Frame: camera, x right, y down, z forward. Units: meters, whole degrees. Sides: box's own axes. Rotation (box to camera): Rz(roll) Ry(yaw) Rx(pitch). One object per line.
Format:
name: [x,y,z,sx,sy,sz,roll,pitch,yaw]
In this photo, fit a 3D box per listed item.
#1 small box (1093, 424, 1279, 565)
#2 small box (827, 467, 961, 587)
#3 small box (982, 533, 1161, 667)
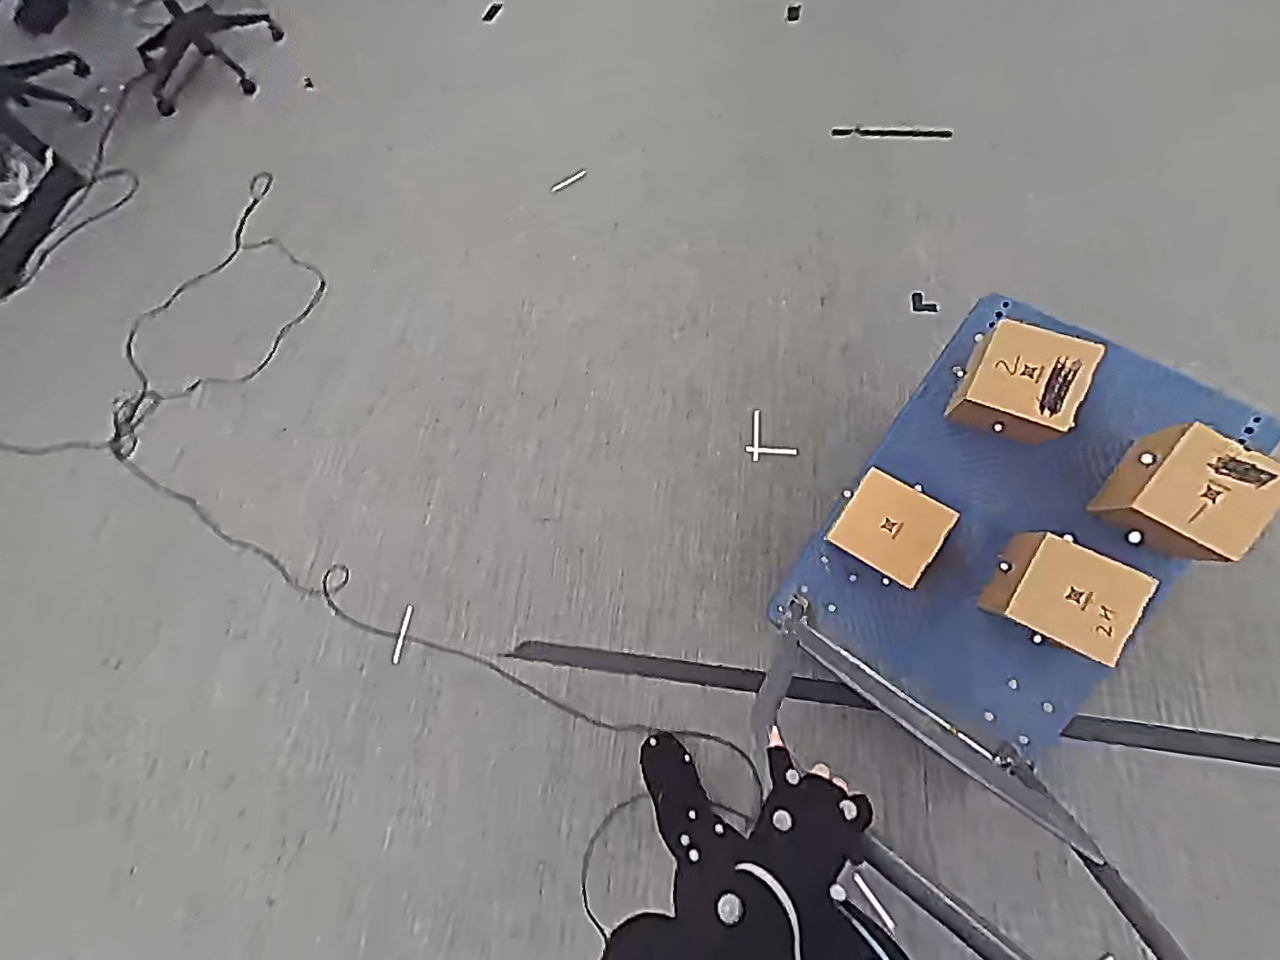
small box: [0.961,0.030,0.951,0.168,0.176,0.179,36,95,18]
small box: [0.494,0.096,1.086,0.179,0.176,0.168,32,93,16]
small box: [0.766,0.212,0.987,0.179,0.176,0.168,28,92,18]
